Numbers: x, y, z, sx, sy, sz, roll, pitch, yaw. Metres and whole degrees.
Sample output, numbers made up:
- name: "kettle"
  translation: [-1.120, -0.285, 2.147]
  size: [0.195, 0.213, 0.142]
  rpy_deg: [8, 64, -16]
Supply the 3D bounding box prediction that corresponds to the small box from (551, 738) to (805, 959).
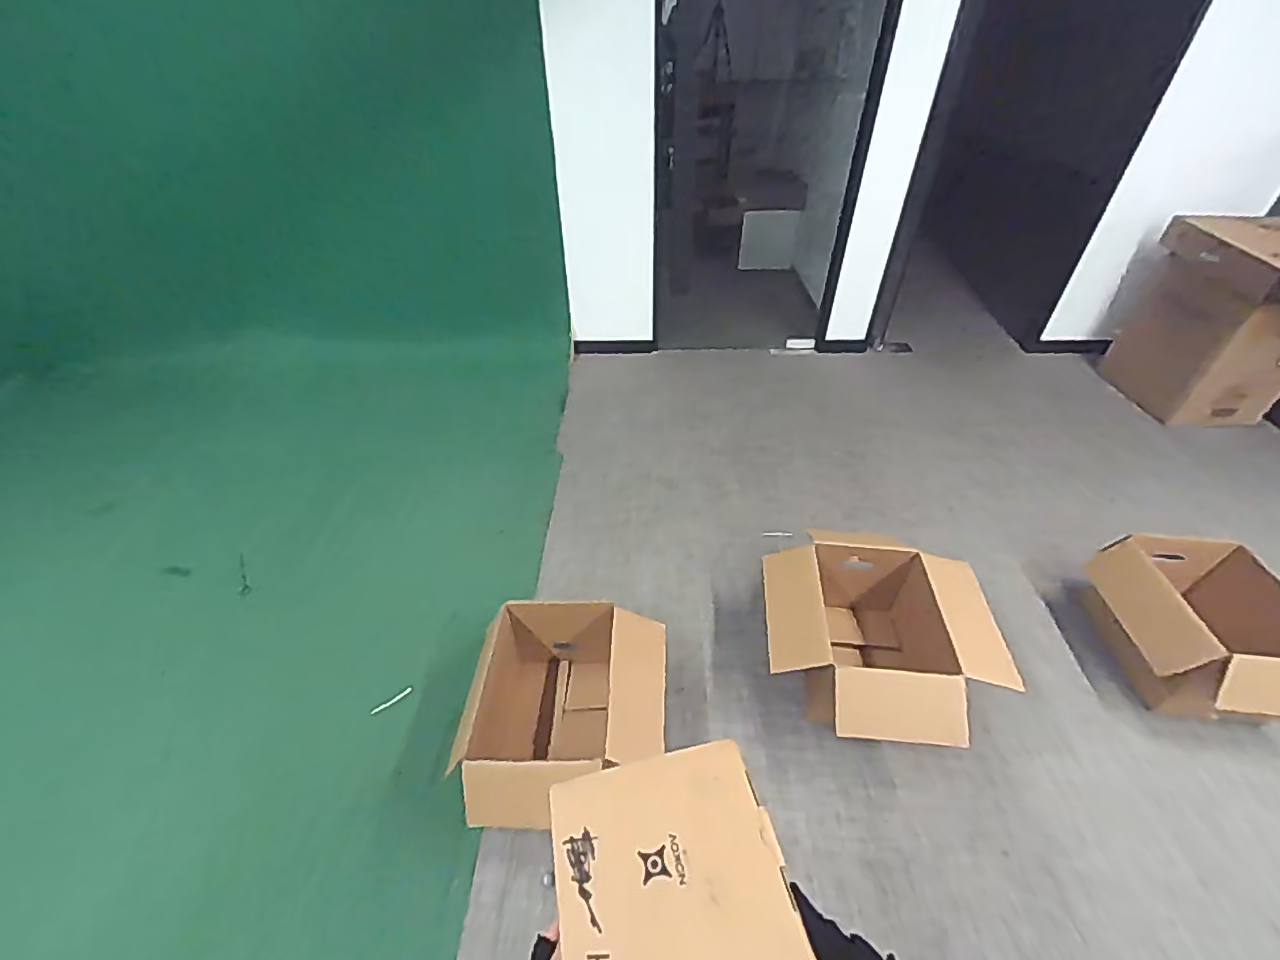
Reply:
- name: "small box"
  translation: [0.022, 0.364, 0.479]
  size: [0.179, 0.176, 0.168]
  rpy_deg: [-9, 37, -6]
